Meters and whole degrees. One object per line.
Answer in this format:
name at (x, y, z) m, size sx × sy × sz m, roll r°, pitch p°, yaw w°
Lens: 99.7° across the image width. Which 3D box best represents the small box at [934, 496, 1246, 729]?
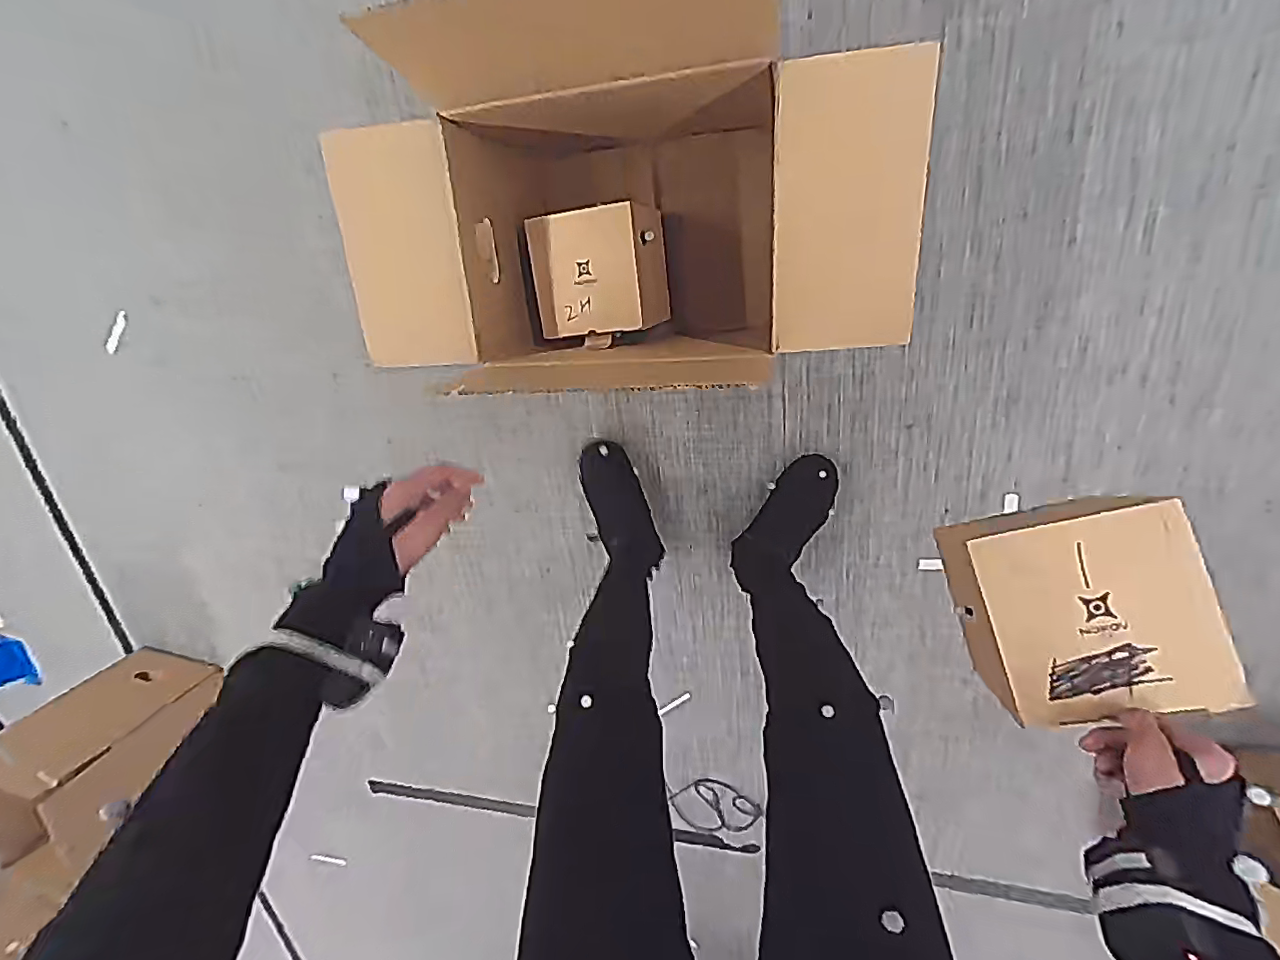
small box at (0.416, 0.119, 0.539) m, size 0.168 × 0.176 × 0.179 m, roll -18°, pitch 83°, yaw 19°
